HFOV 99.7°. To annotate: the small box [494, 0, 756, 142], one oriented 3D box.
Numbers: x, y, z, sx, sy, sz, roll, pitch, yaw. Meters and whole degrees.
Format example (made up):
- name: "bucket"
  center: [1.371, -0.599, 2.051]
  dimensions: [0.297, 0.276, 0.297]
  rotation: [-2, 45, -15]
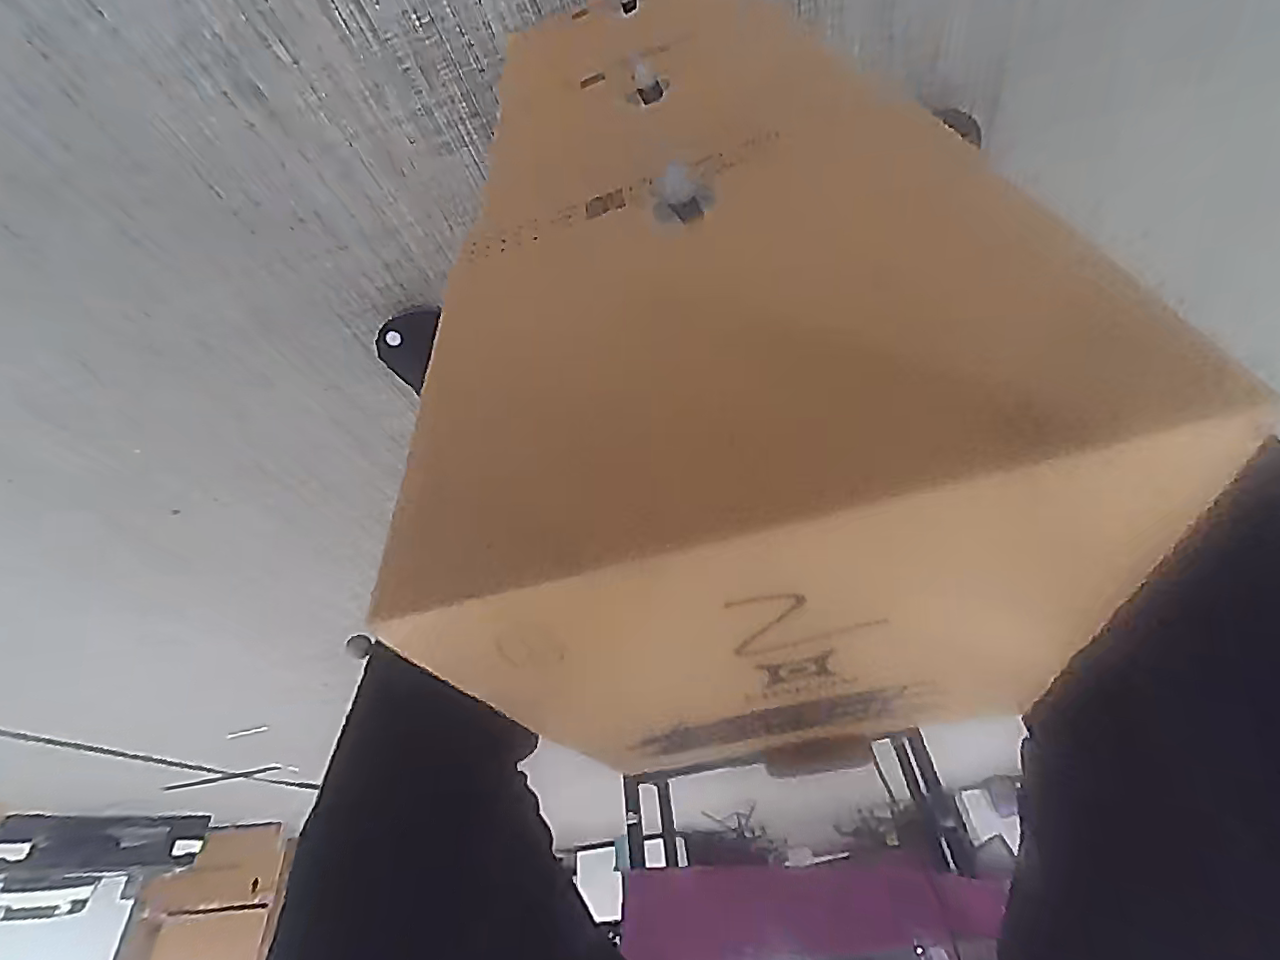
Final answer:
- name: "small box"
  center: [0.006, -0.253, 0.426]
  dimensions: [0.168, 0.176, 0.179]
  rotation: [-17, 140, 11]
